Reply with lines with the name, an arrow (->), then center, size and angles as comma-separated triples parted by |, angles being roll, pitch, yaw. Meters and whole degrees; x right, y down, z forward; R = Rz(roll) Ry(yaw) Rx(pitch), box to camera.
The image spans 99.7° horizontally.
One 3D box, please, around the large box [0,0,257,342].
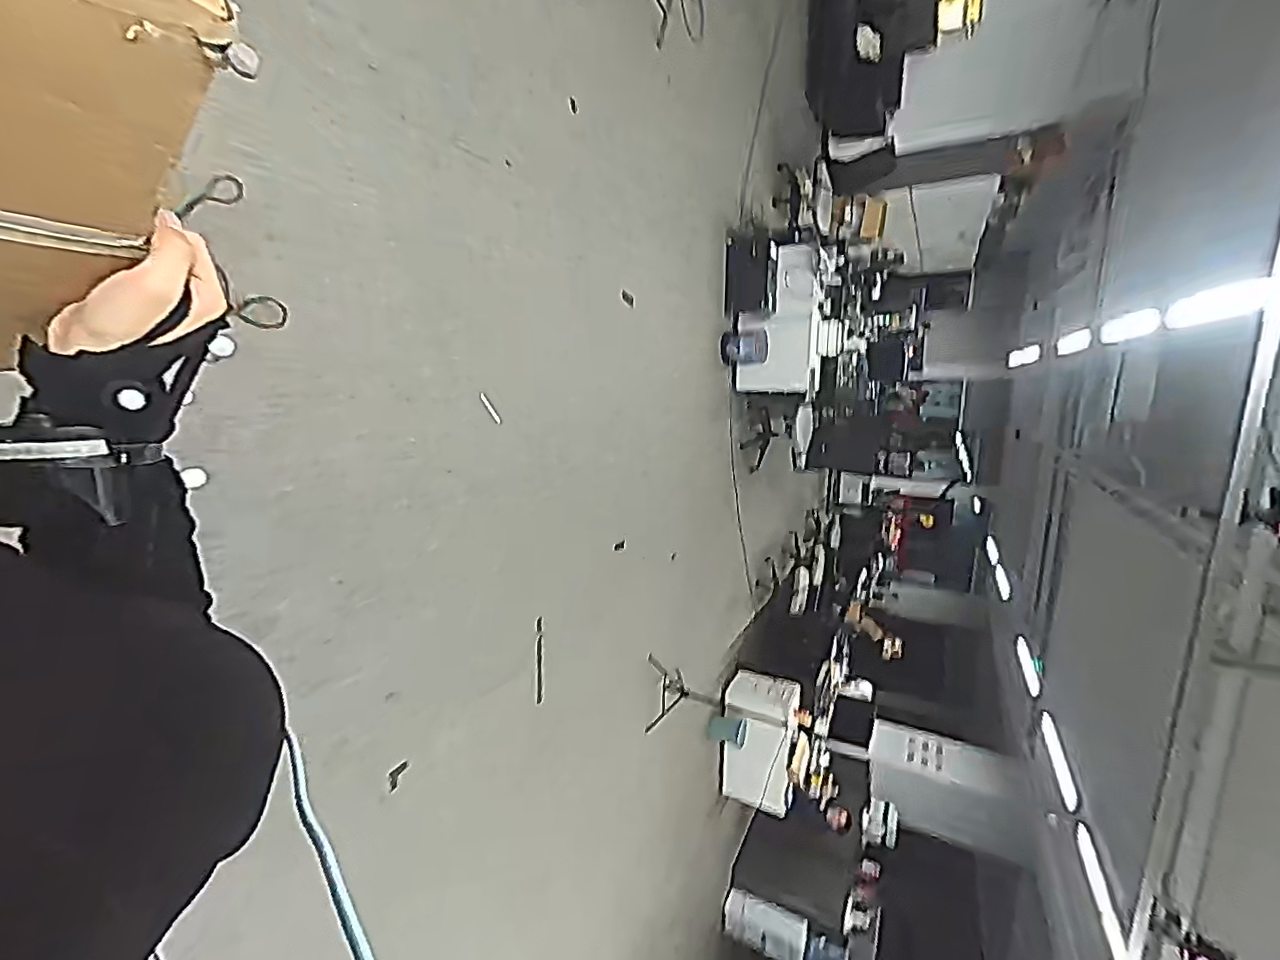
large box -> -0.434, -0.266, 0.162 | 0.408, 0.320, 0.320 | -14, 80, -56
